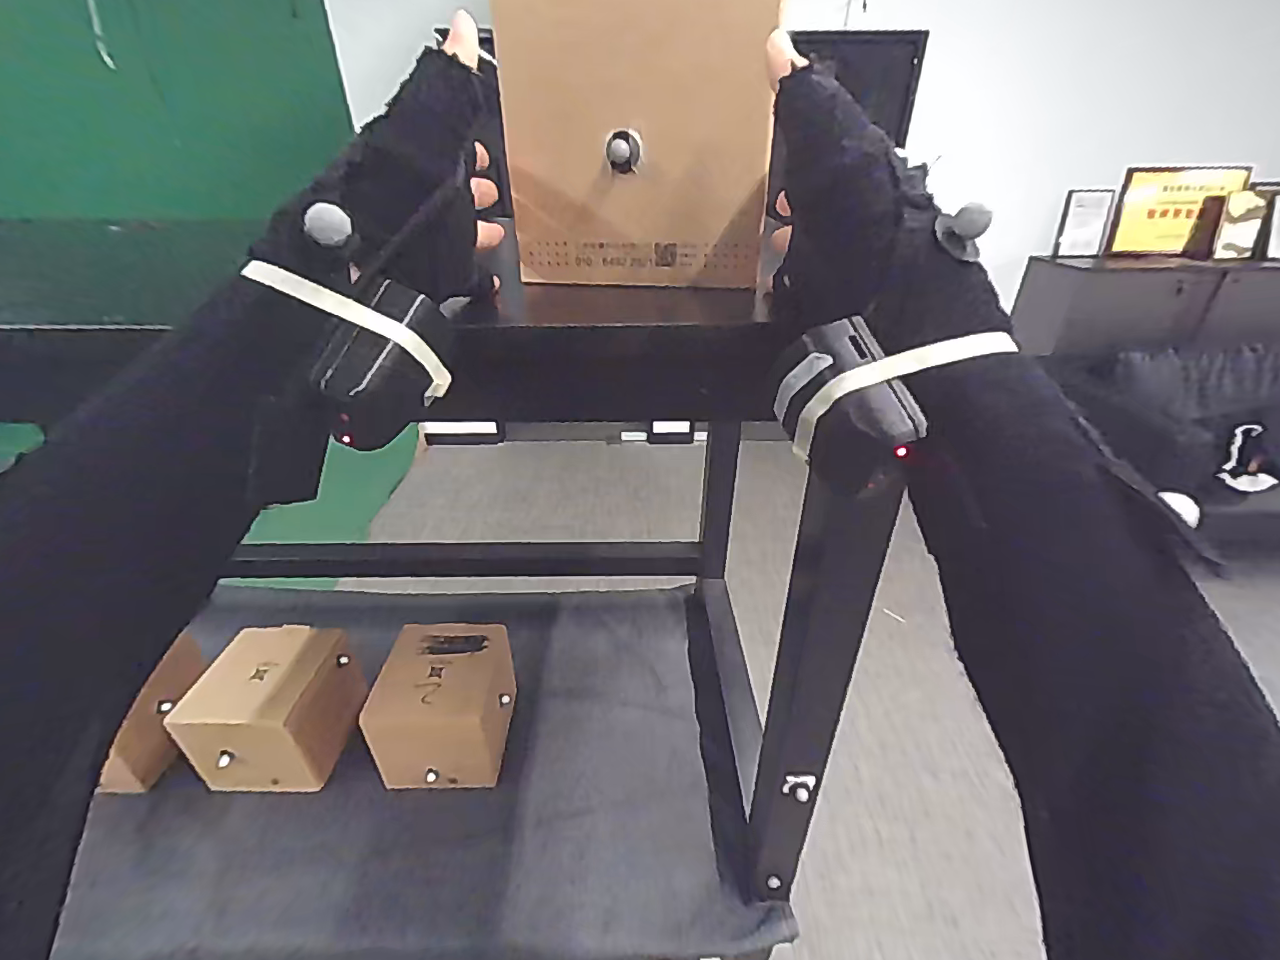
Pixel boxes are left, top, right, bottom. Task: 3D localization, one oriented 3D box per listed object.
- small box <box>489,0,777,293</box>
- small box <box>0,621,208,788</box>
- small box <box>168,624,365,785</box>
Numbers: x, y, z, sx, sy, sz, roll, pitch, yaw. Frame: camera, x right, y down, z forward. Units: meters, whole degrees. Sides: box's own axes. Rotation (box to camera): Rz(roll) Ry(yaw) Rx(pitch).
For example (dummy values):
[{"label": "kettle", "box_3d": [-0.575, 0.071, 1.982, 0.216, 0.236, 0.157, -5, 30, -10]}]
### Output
[{"label": "small box", "box_3d": [0.010, -0.243, 0.403, 0.168, 0.176, 0.179, 6, 31, 9]}, {"label": "small box", "box_3d": [-0.811, 0.344, 0.841, 0.168, 0.176, 0.179, 1, 31, 1]}, {"label": "small box", "box_3d": [-0.558, 0.347, 0.842, 0.168, 0.176, 0.179, 1, 30, 0]}]
